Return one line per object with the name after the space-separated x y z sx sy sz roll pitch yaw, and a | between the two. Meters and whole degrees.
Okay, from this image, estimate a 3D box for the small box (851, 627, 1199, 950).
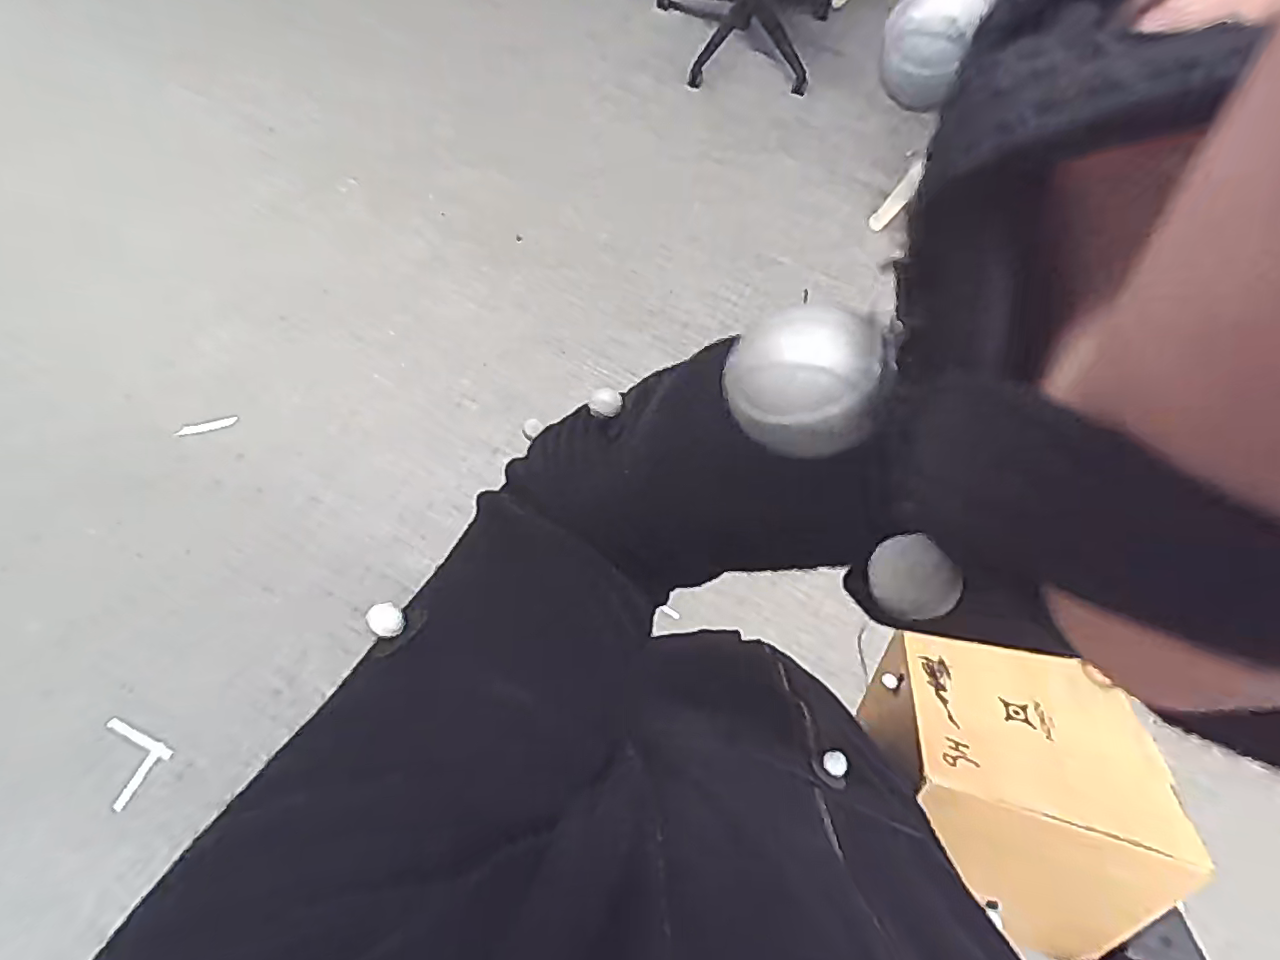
0.303 0.268 0.479 0.179 0.176 0.168 13 32 12 | small box
